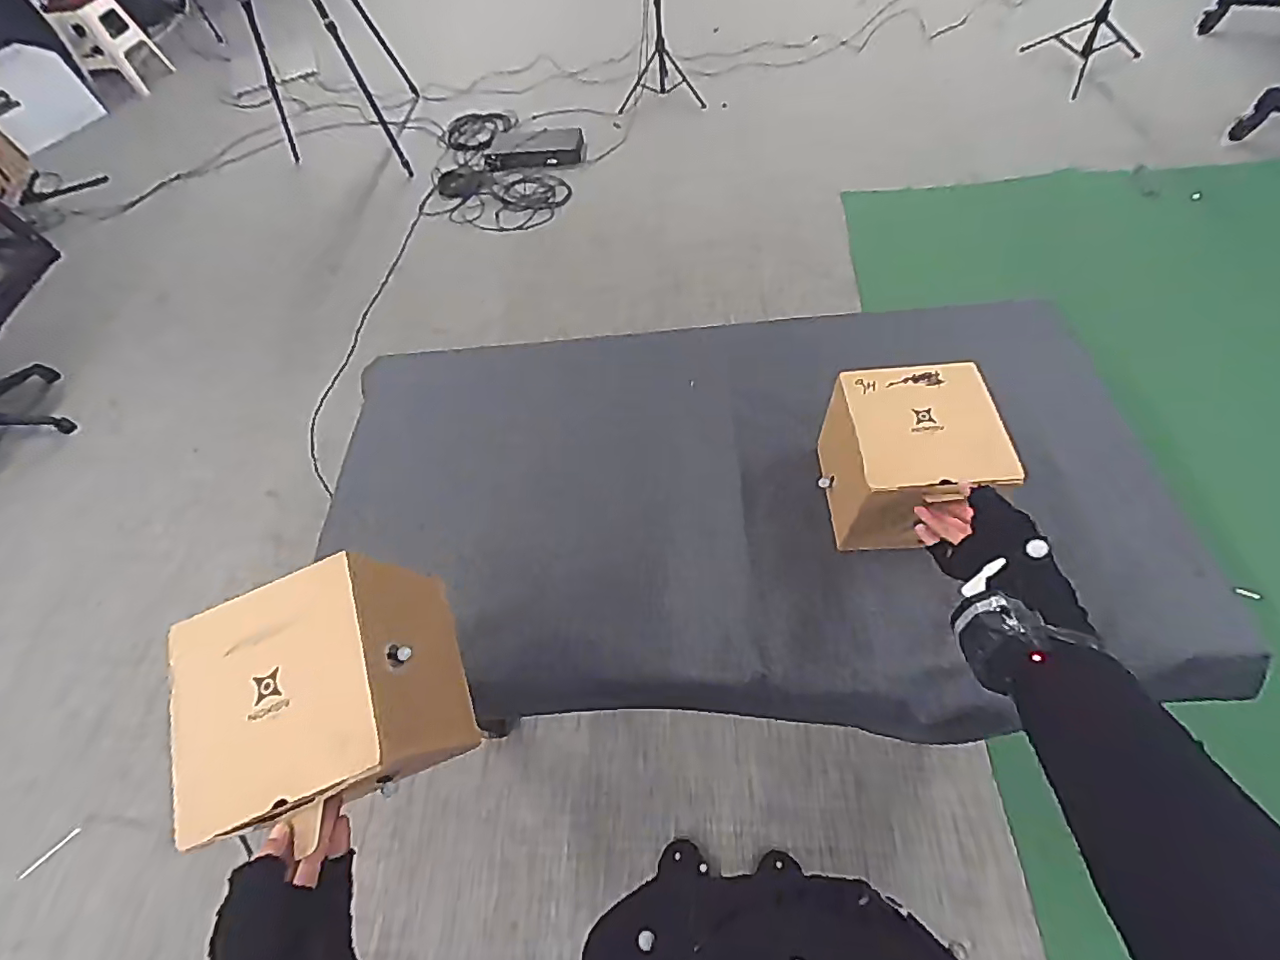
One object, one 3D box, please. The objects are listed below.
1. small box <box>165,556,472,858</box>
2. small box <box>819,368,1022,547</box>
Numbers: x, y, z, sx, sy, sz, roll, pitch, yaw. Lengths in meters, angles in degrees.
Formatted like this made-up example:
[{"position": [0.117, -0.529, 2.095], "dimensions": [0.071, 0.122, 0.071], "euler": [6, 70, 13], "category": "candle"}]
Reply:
[{"position": [-0.274, 0.194, 0.489], "dimensions": [0.168, 0.176, 0.179], "euler": [-23, 66, -1], "category": "small box"}, {"position": [0.341, -0.020, 0.698], "dimensions": [0.168, 0.176, 0.179], "euler": [-2, 59, 5], "category": "small box"}]
